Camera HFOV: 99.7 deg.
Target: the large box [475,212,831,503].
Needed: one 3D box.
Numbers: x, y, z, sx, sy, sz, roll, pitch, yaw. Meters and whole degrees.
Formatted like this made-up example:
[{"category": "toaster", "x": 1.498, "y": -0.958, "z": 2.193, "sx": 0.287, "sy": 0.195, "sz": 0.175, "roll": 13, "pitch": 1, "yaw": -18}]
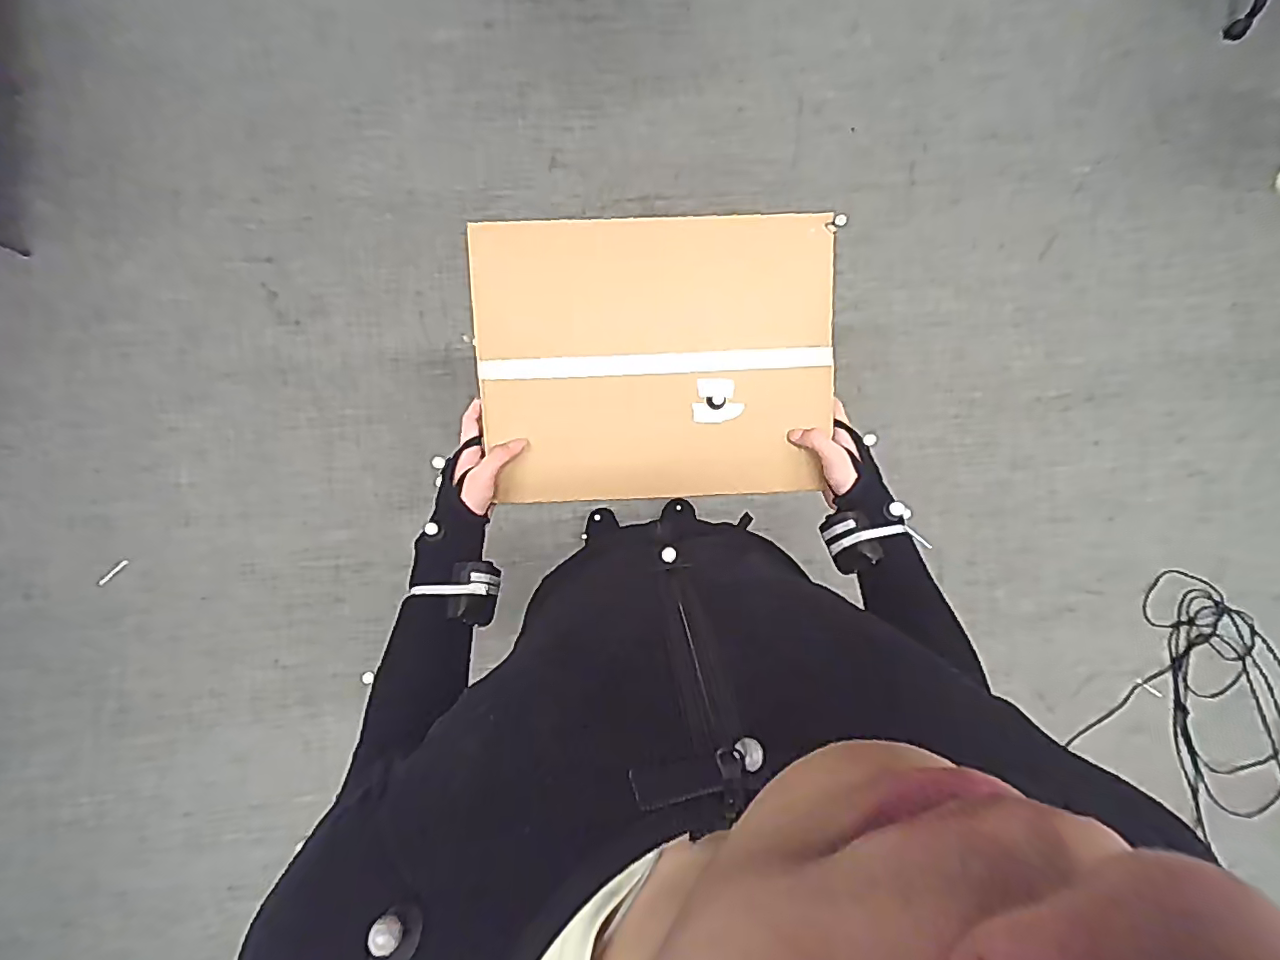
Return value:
[{"category": "large box", "x": 0.016, "y": -0.159, "z": 0.771, "sx": 0.408, "sy": 0.320, "sz": 0.320, "roll": -4, "pitch": 100, "yaw": -2}]
